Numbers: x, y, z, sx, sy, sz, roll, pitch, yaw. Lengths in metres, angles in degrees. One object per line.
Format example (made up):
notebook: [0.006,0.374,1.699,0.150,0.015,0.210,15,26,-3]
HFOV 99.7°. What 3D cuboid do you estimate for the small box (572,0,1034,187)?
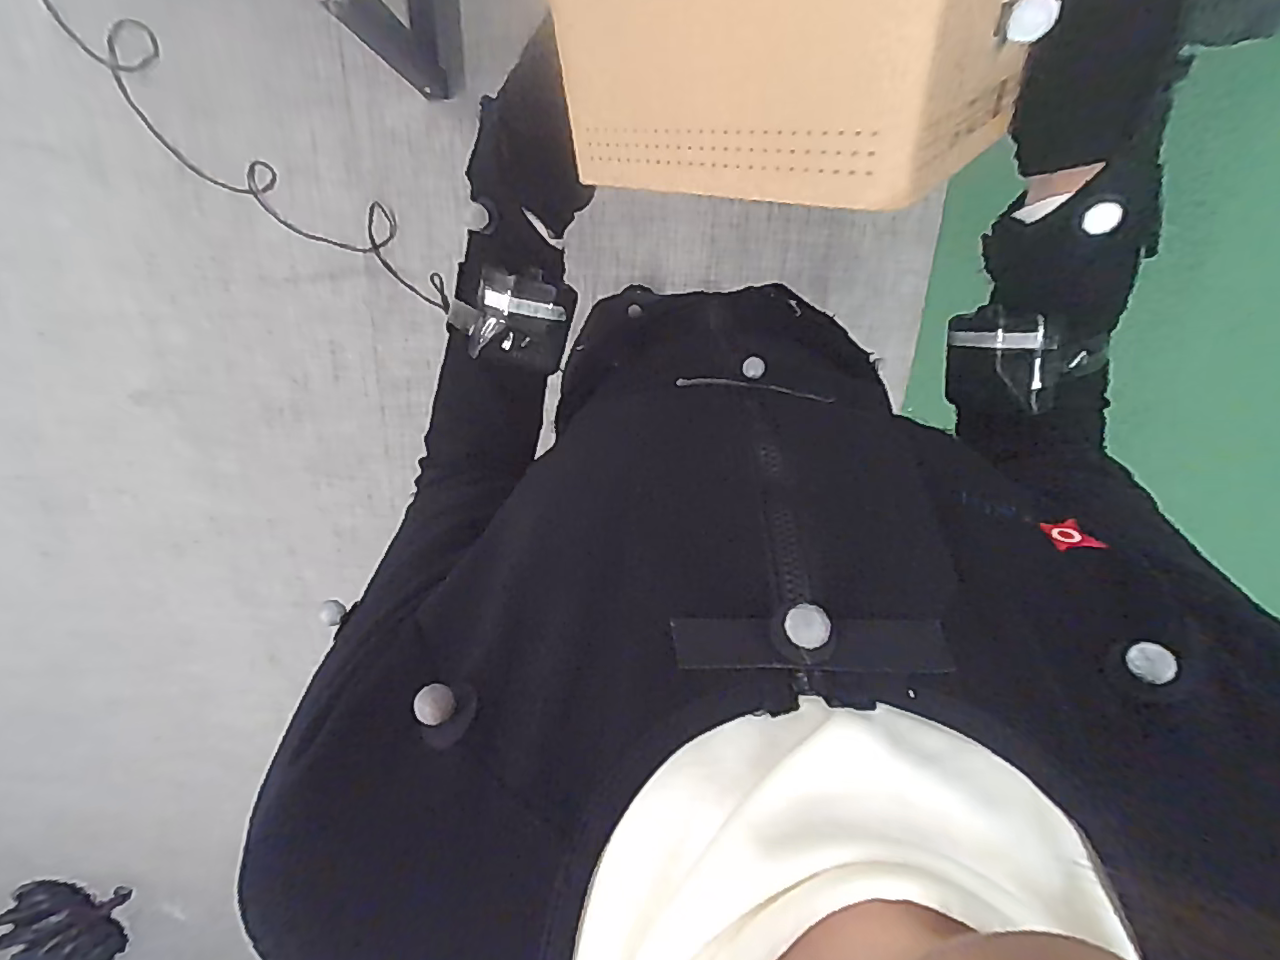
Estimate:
small box: [0.076,-0.247,0.251,0.179,0.168,0.176,24,140,32]
